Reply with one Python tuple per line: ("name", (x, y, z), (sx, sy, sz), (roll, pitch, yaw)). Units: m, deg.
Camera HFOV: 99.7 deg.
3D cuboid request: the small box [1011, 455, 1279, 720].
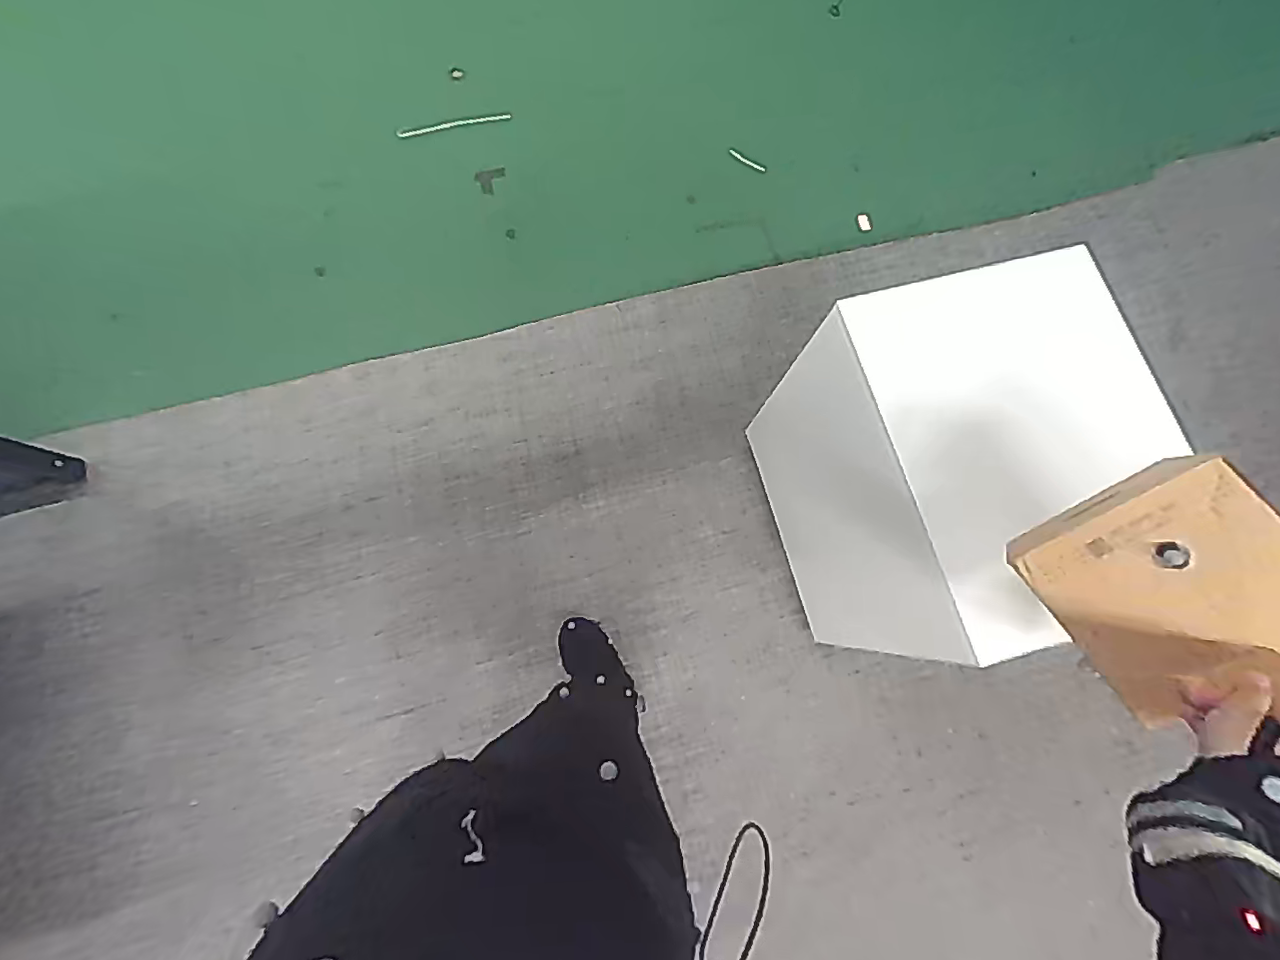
("small box", (0.489, 0.090, 0.513), (0.168, 0.179, 0.176), (-42, 67, 28))
